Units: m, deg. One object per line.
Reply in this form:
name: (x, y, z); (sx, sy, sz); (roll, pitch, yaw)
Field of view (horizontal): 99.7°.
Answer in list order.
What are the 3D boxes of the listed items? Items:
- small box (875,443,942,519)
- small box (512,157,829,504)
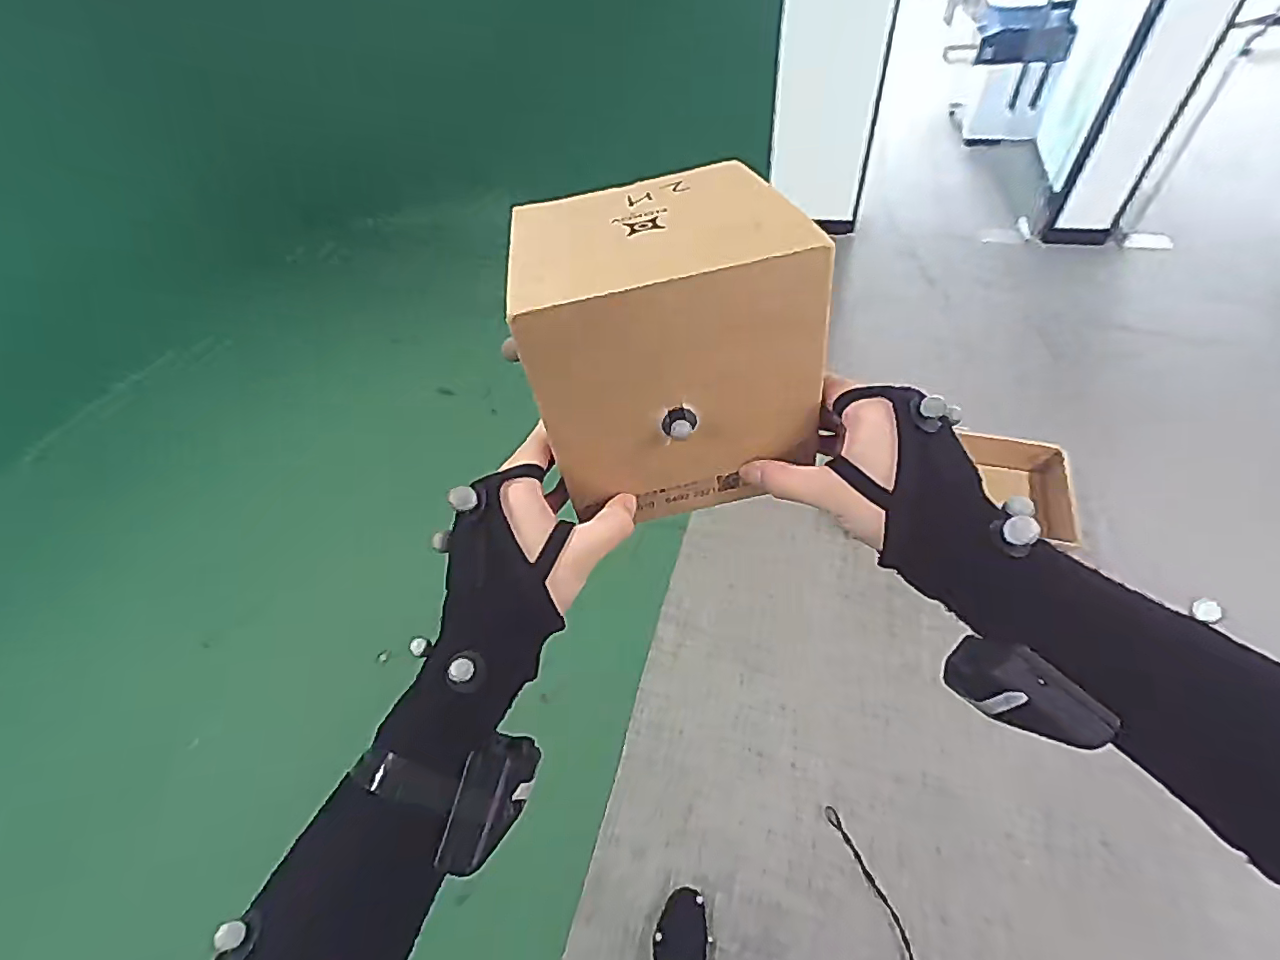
small box: (0.892, 0.006, 1.800); (0.168, 0.176, 0.179); (12, 53, 16)
small box: (0.018, -0.100, 0.381); (0.168, 0.176, 0.179); (-11, 42, 0)
